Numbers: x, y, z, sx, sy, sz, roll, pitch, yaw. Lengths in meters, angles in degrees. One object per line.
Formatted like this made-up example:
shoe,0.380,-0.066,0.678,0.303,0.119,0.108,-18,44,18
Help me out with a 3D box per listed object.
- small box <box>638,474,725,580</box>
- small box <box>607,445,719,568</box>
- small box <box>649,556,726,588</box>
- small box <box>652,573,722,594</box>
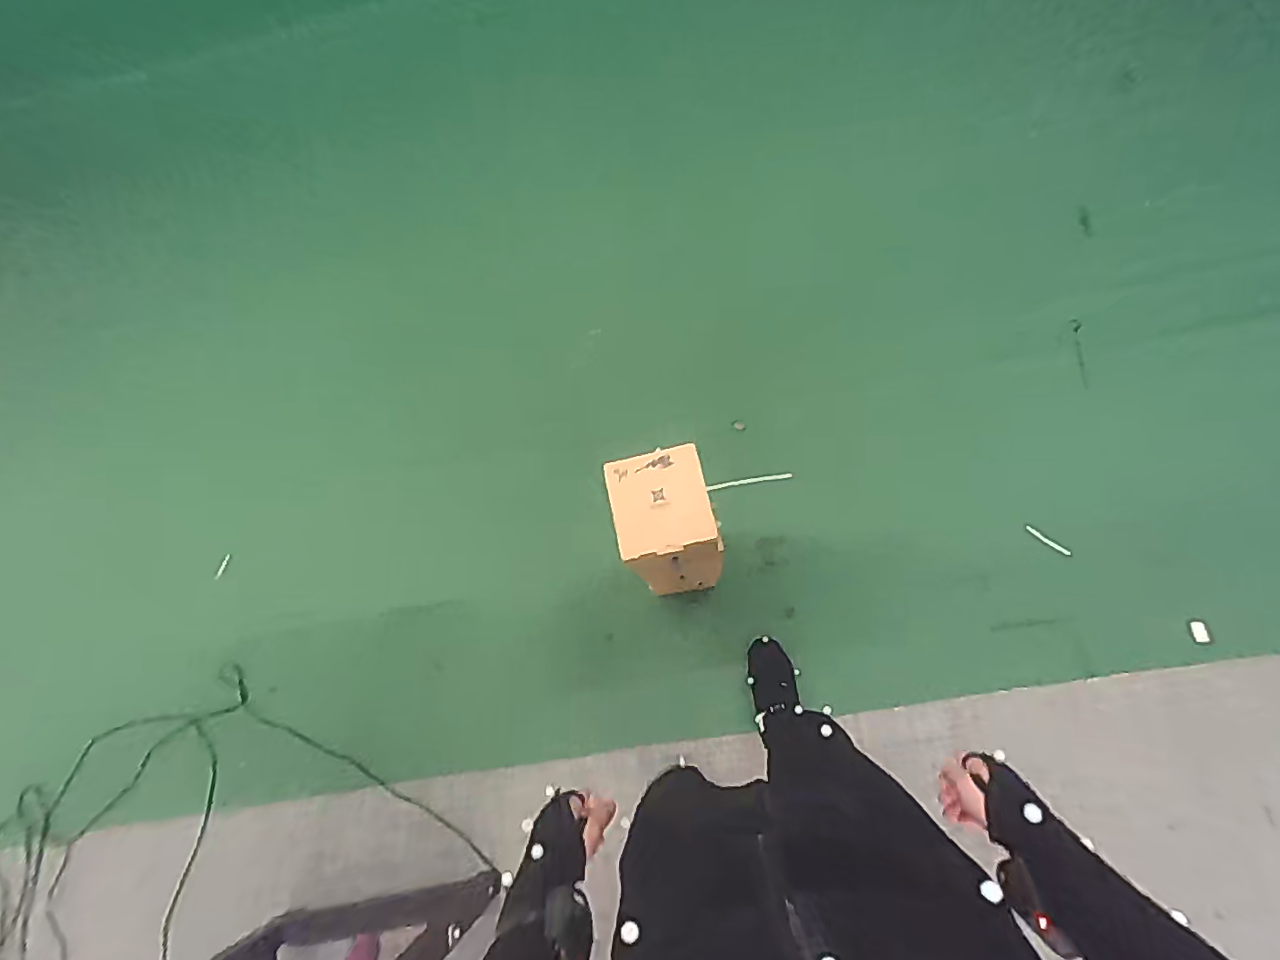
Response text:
small box,0.076,0.106,1.137,0.179,0.176,0.168,-14,72,3
small box,0.047,0.058,0.983,0.168,0.176,0.179,-13,72,4
small box,0.101,0.155,1.292,0.179,0.176,0.168,-13,72,4
small box,0.116,0.207,1.445,0.179,0.176,0.168,-10,72,5
